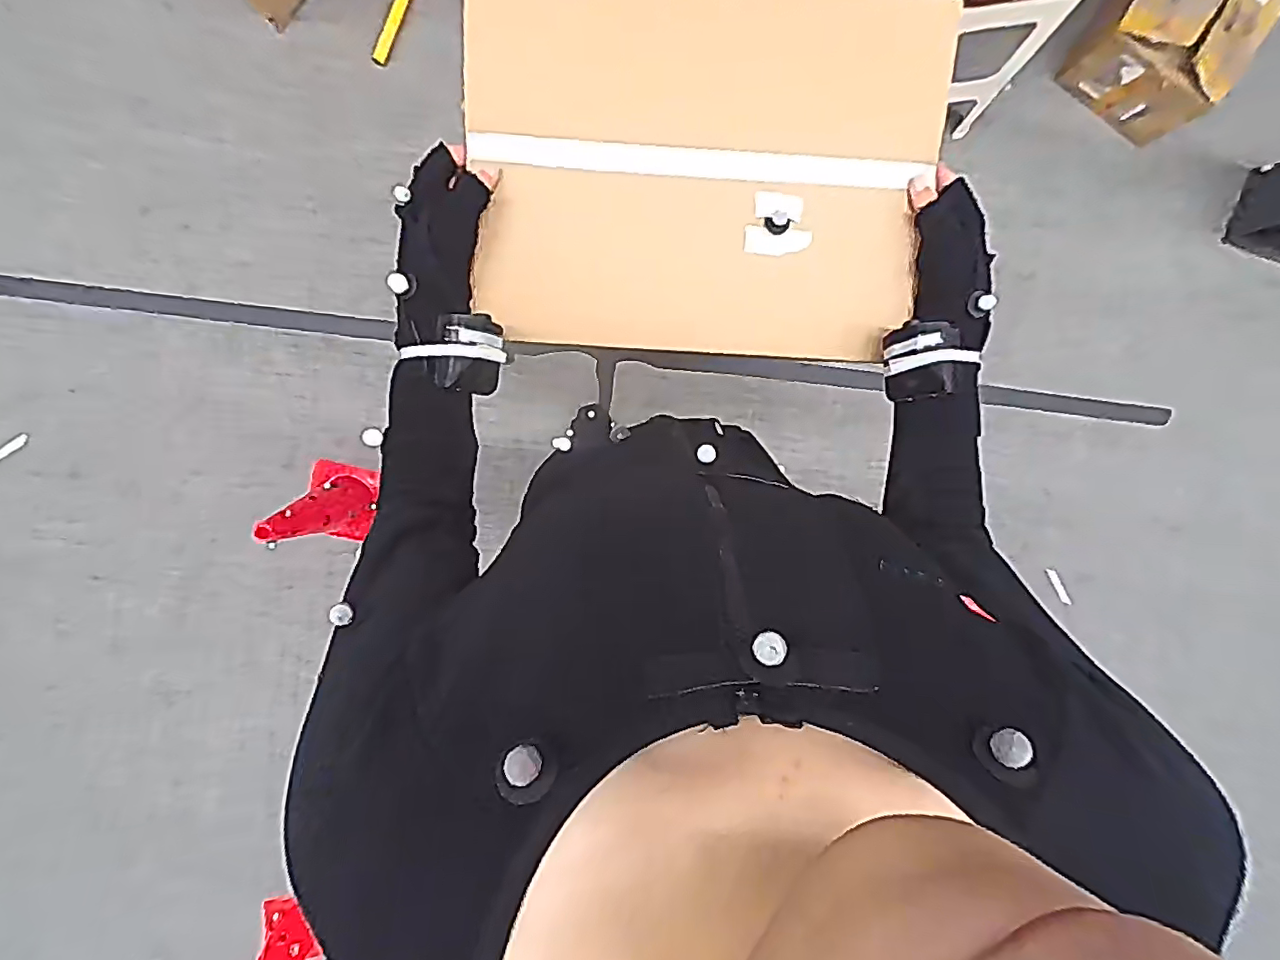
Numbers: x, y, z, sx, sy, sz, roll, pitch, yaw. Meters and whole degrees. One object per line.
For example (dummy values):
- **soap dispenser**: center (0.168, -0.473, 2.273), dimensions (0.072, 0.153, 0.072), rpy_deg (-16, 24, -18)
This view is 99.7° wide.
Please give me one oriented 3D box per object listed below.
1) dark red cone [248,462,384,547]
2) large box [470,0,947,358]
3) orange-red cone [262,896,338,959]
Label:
- **dark red cone**: center (-0.768, 0.085, 1.252), dimensions (0.201, 0.394, 0.202), rpy_deg (12, 97, -6)
- **large box**: center (0.046, -0.306, 0.618), dimensions (0.408, 0.320, 0.320), rpy_deg (2, 103, -3)
- **orange-red cone**: center (-0.992, 1.353, 1.435), dimensions (0.198, 0.360, 0.199), rpy_deg (4, 99, -2)
